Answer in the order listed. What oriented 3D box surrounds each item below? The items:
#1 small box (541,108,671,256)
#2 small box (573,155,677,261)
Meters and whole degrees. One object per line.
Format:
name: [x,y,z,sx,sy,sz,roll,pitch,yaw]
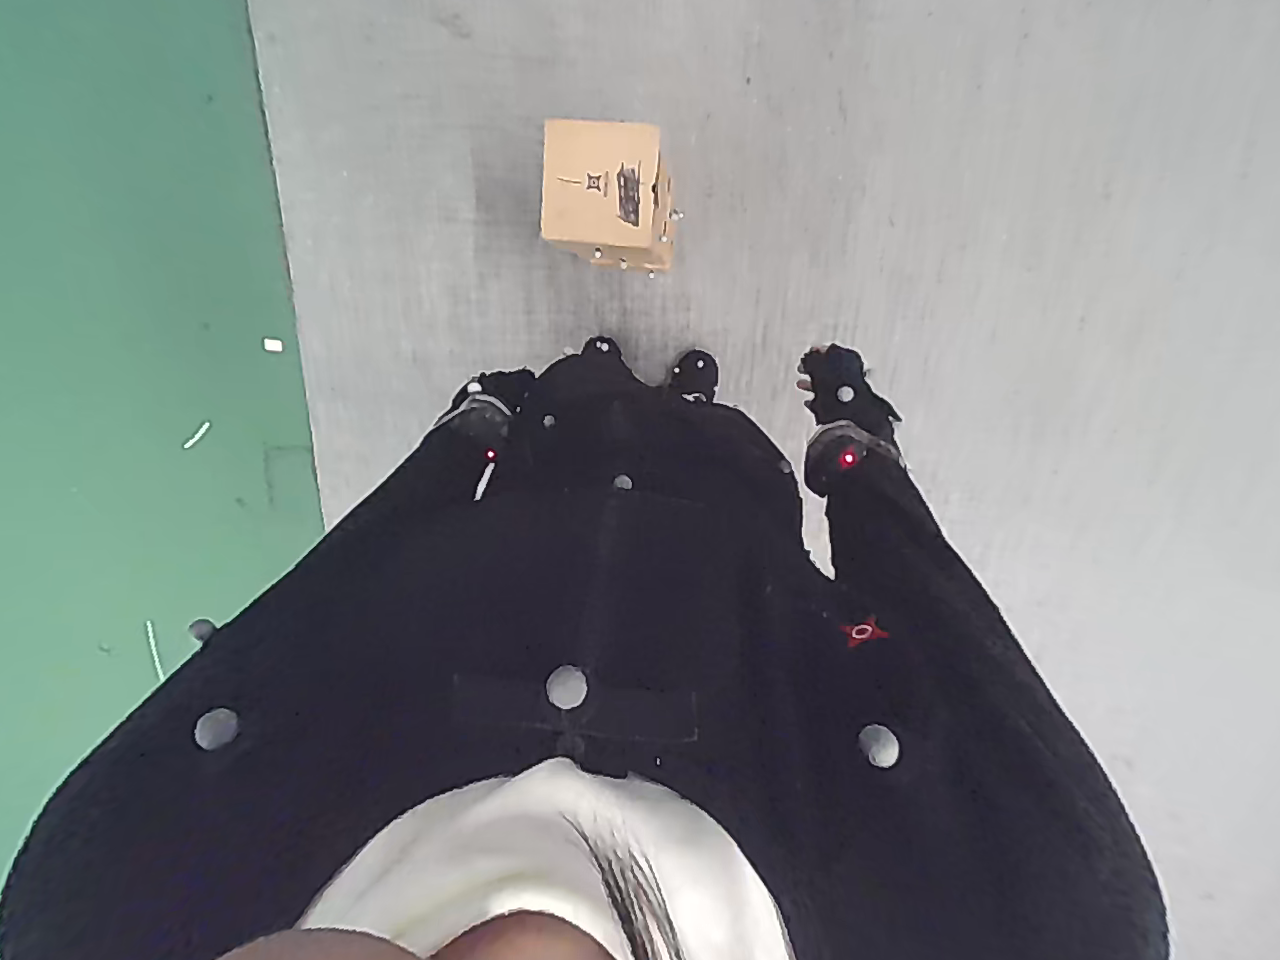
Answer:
small box: [-0.048,-0.473,0.885,0.179,0.176,0.168,10,106,3]
small box: [-0.024,-0.523,1.043,0.179,0.176,0.168,7,108,4]
